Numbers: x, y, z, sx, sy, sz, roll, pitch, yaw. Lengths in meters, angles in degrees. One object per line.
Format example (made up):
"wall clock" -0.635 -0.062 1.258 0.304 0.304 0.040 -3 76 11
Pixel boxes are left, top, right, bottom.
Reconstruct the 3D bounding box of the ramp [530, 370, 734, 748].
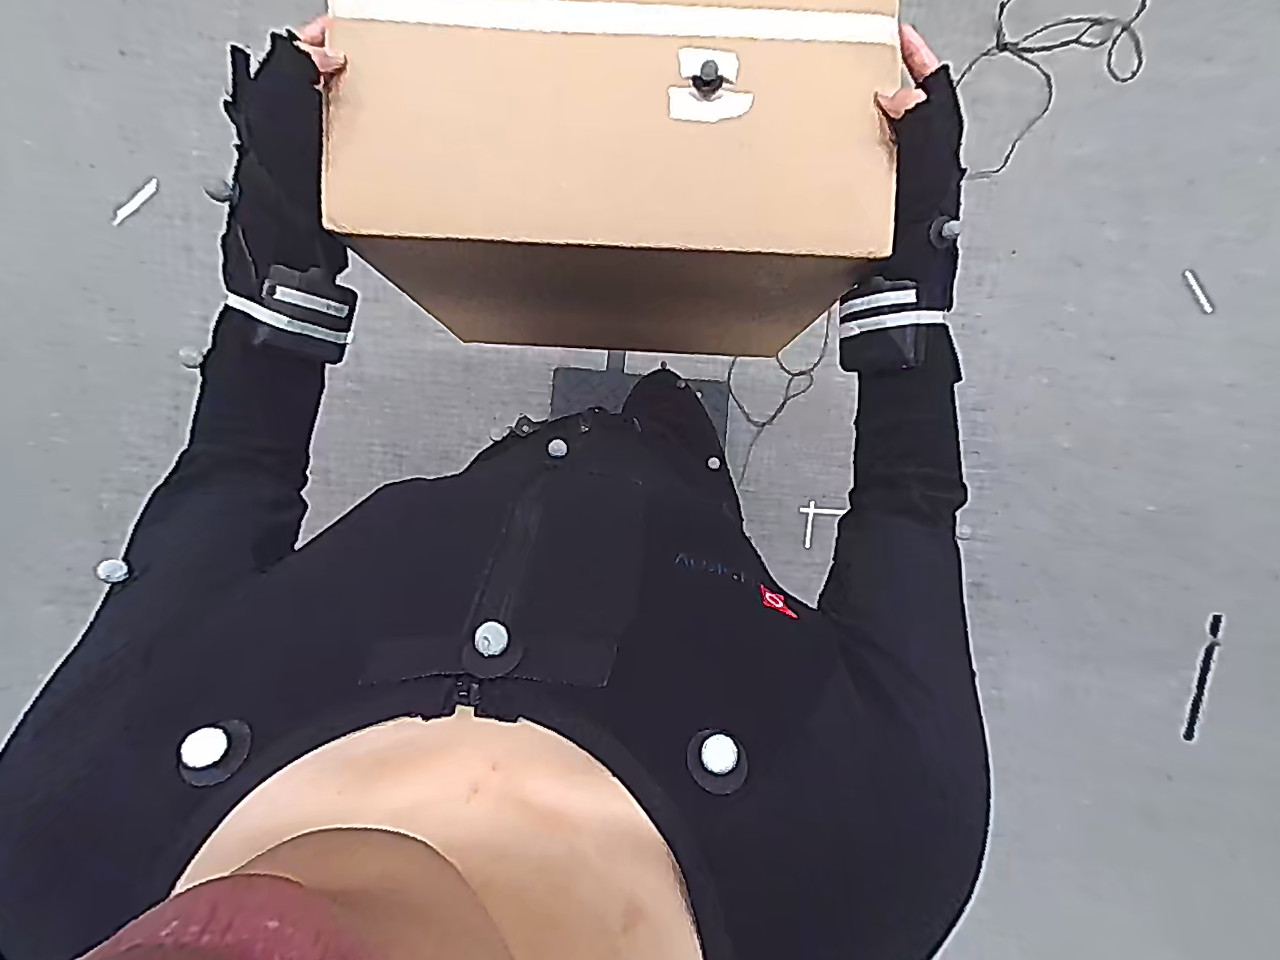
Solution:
"ramp" -0.016 0.202 1.478 0.509 0.206 0.991 3 96 1

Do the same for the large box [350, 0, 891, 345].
"large box" -0.016 -0.332 0.550 0.408 0.320 0.320 2 90 -1
